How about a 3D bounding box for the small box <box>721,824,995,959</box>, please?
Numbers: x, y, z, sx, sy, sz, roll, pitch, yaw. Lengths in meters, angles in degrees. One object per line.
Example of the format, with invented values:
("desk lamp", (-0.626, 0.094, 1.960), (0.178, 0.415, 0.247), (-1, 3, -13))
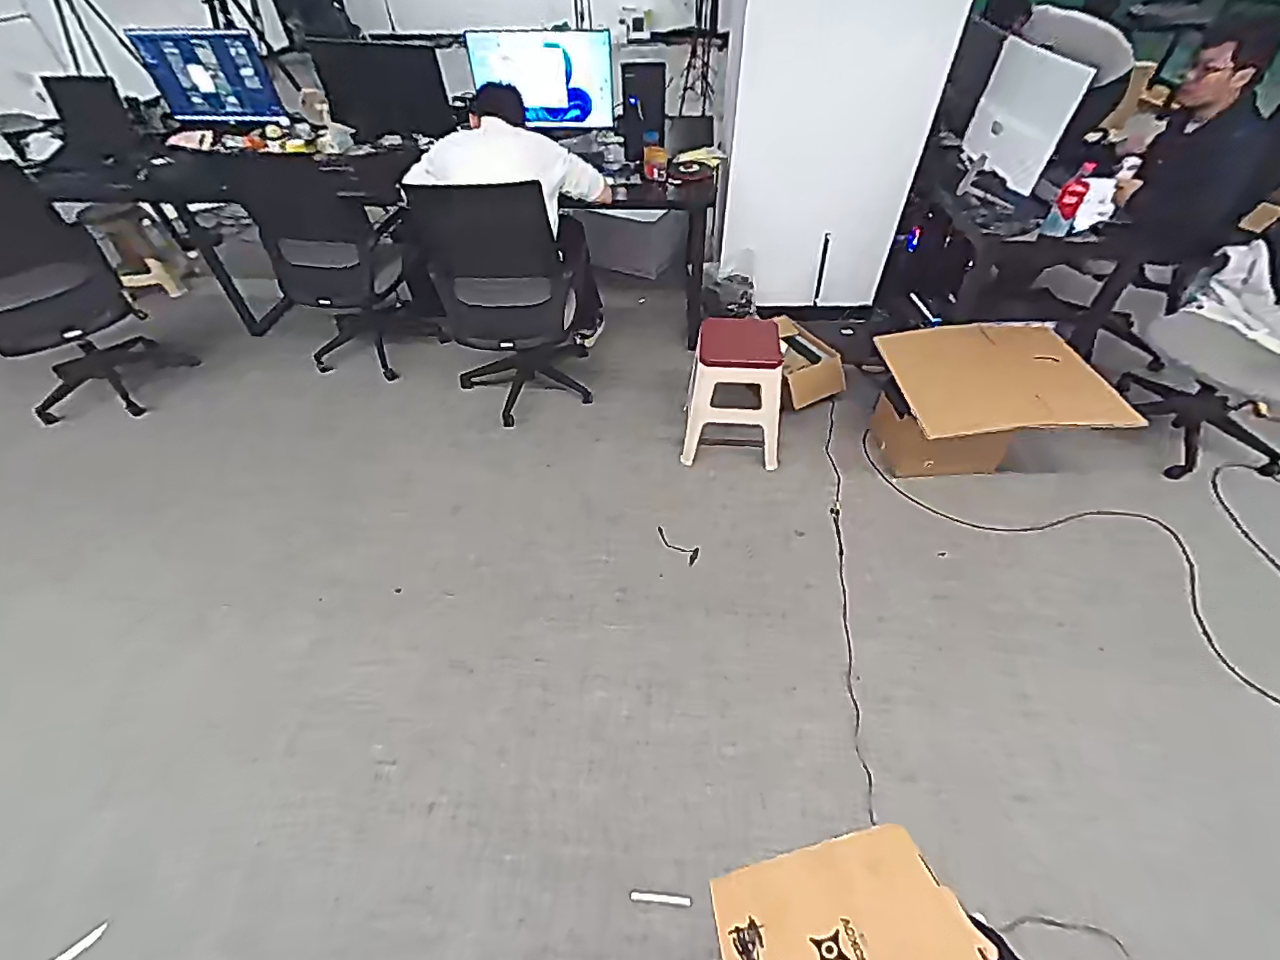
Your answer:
("small box", (0.178, 0.417, 0.412), (0.179, 0.176, 0.168), (-18, 10, 1))
